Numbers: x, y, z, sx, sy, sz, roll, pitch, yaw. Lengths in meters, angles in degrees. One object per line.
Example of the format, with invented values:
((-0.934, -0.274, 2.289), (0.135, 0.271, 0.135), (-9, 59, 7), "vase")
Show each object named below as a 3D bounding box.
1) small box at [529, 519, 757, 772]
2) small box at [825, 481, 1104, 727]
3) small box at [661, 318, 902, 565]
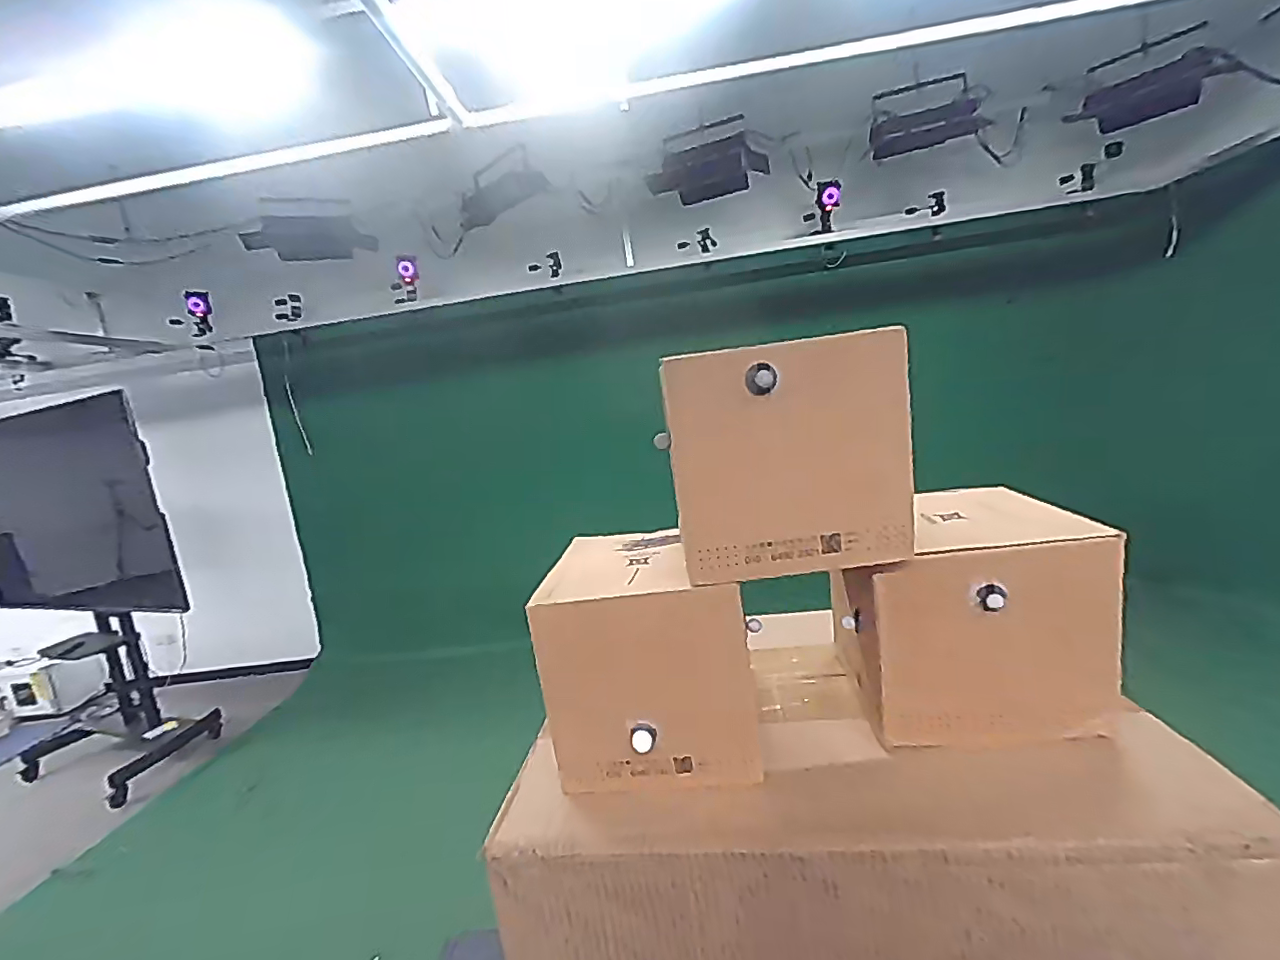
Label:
((0.013, 0.140, 0.505), (0.168, 0.176, 0.179), (-7, 11, 9), "small box")
((0.274, 0.104, 0.495), (0.179, 0.176, 0.168), (-5, 11, 7), "small box")
((0.107, -0.035, 0.467), (0.168, 0.176, 0.179), (-7, 10, 2), "small box")
